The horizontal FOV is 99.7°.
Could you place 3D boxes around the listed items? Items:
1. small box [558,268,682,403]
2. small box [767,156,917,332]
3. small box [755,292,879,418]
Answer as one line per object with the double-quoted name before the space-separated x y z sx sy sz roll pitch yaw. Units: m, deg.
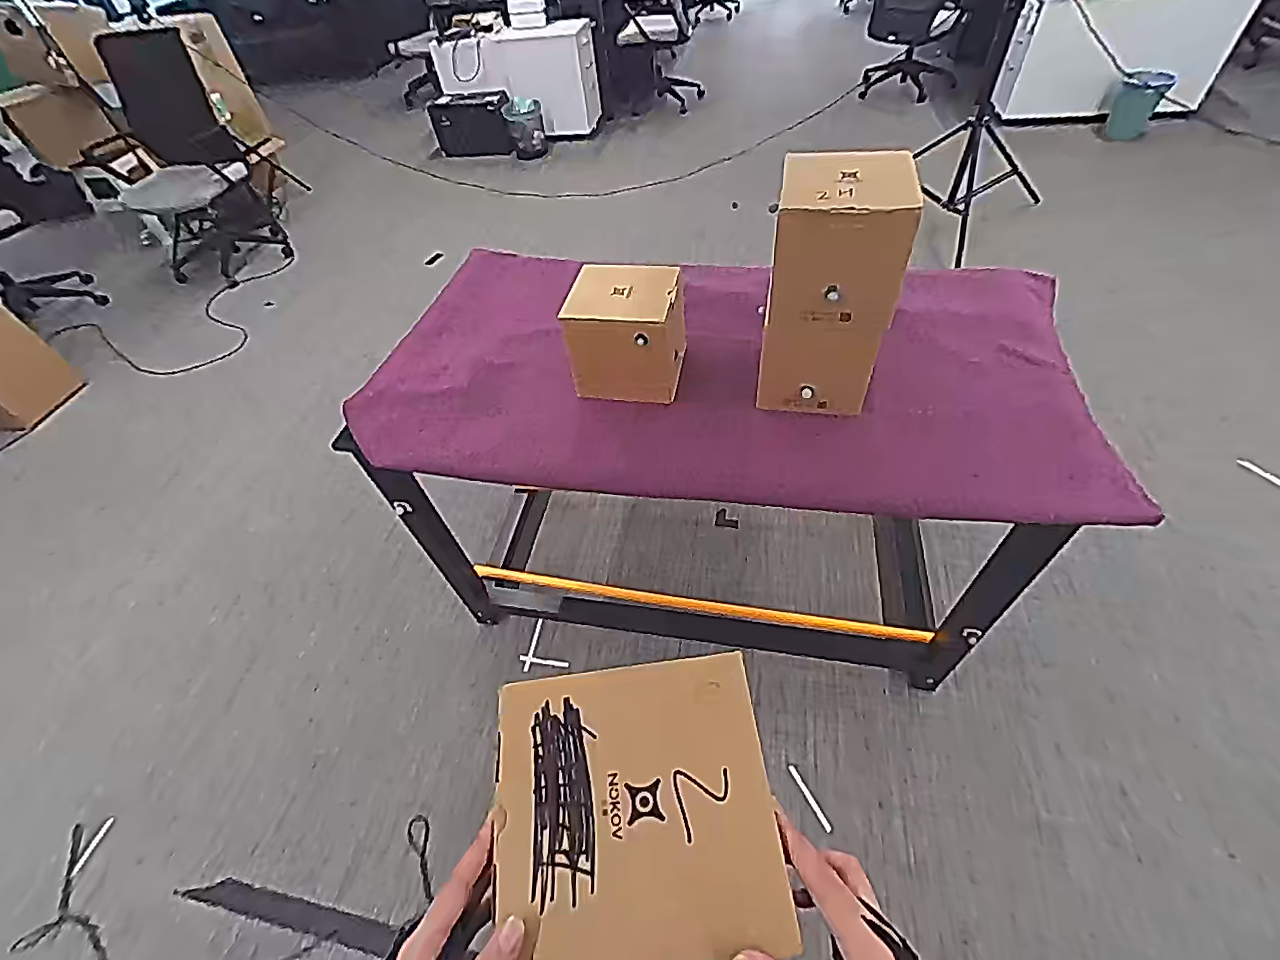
"small box" -0.025 -0.251 0.947 0.179 0.176 0.168 6 51 11
"small box" 0.272 -0.332 0.761 0.168 0.176 0.179 6 51 13
"small box" 0.283 -0.227 0.888 0.168 0.176 0.179 6 52 12
